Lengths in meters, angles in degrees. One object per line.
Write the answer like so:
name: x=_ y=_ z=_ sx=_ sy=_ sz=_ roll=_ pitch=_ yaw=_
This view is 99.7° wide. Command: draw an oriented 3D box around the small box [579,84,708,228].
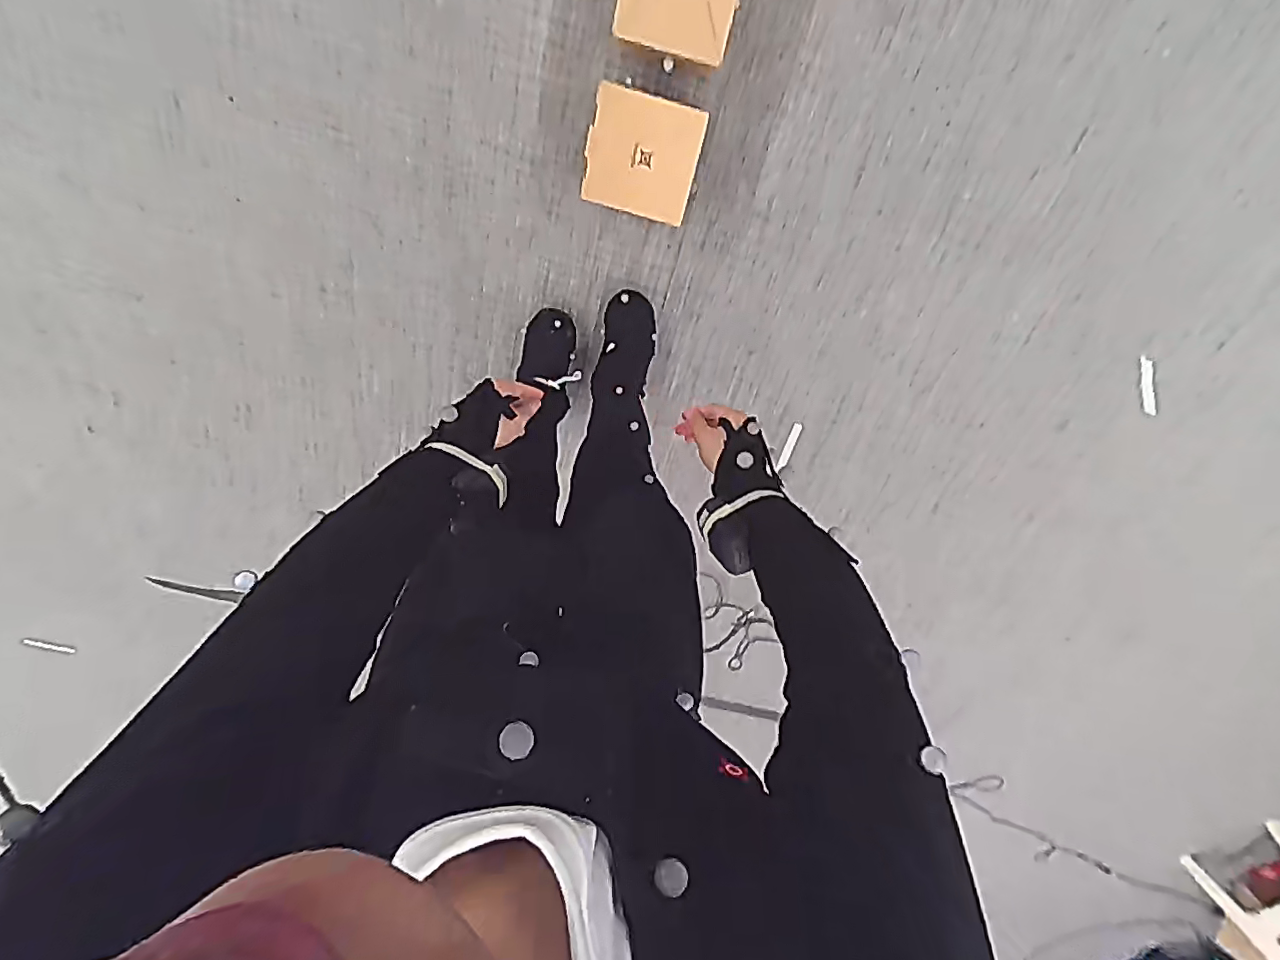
small box: x=0.004 y=-0.557 z=0.936 sx=0.179 sy=0.176 sz=0.168 roll=14 pitch=121 yaw=-6

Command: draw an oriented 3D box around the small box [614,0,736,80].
small box: x=0.059 y=-0.740 z=0.818 sx=0.168 sy=0.176 sz=0.179 roll=13 pitch=120 yaw=-5
